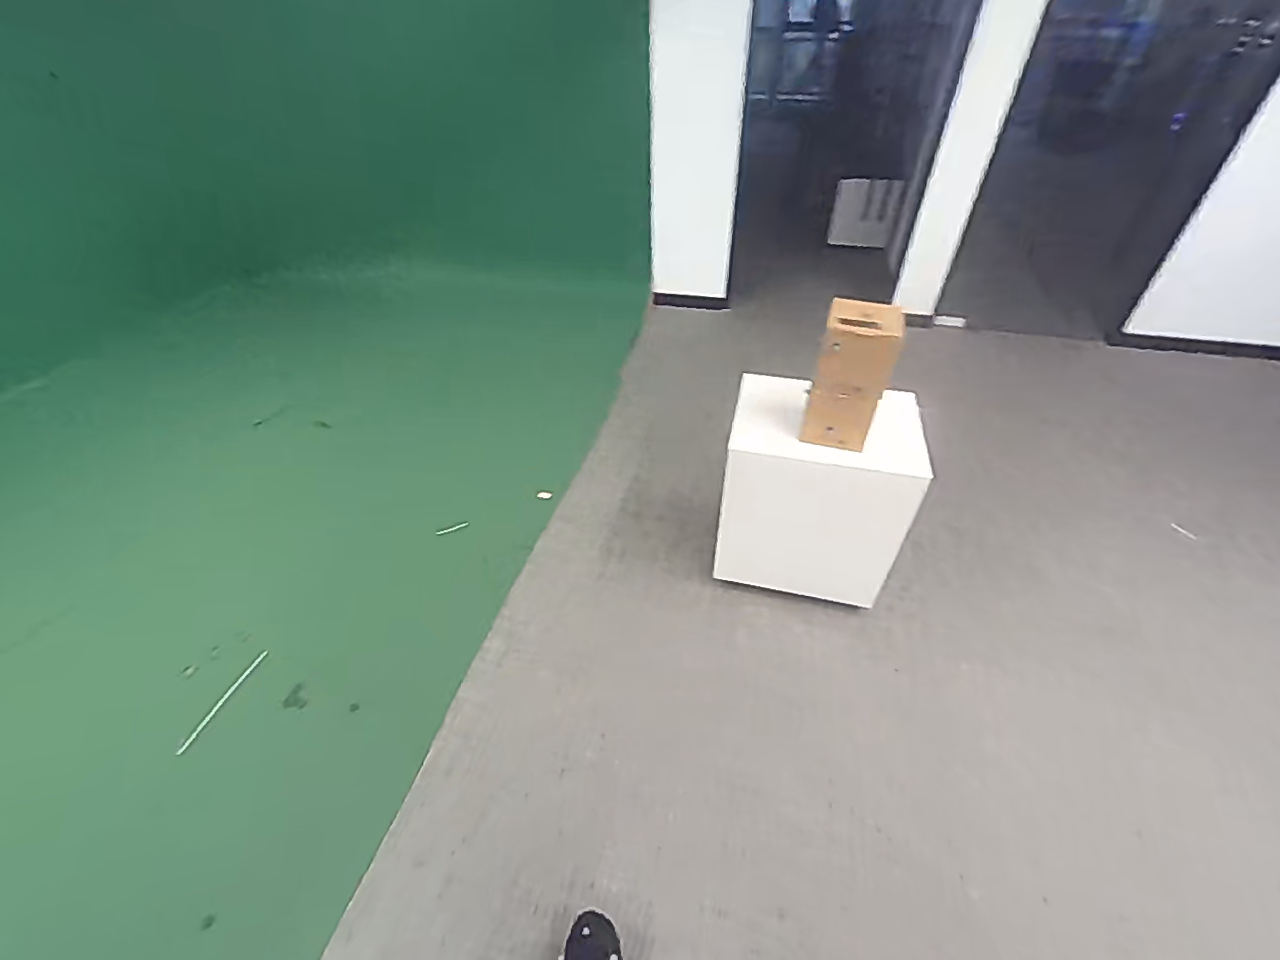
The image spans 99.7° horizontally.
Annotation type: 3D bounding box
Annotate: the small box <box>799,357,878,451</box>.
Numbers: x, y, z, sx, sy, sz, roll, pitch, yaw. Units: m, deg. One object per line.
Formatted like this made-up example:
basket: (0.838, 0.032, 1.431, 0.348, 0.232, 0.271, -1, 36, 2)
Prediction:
small box: (0.526, -0.203, 1.439, 0.168, 0.176, 0.179, 11, 42, 14)
